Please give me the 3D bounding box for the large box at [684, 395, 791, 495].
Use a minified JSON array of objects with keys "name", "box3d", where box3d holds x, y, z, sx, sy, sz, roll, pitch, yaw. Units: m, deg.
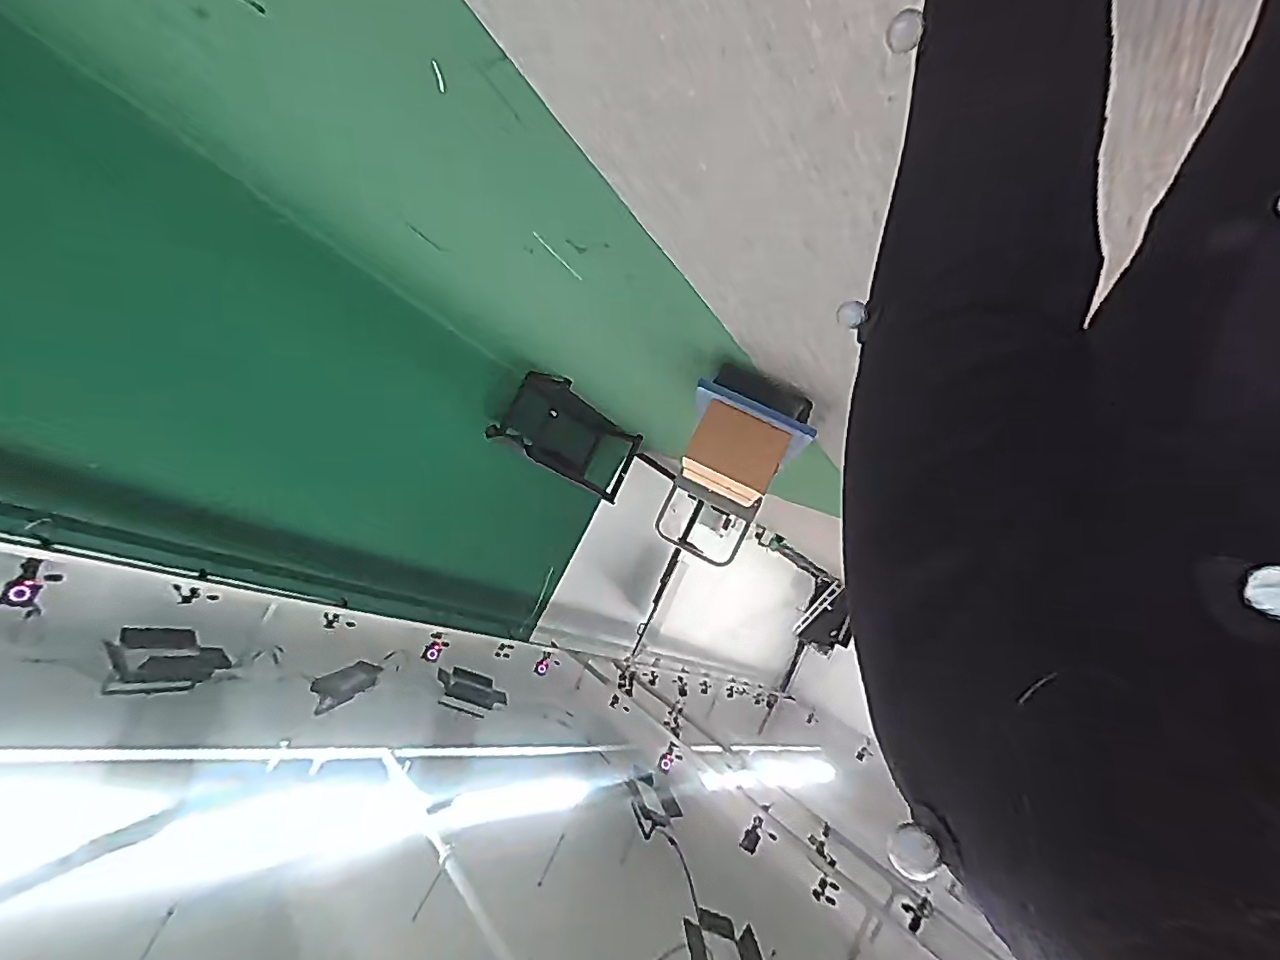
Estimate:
[{"name":"large box","box3d":[0.455,-0.163,2.598,0.408,0.320,0.320,26,176,6]}]
